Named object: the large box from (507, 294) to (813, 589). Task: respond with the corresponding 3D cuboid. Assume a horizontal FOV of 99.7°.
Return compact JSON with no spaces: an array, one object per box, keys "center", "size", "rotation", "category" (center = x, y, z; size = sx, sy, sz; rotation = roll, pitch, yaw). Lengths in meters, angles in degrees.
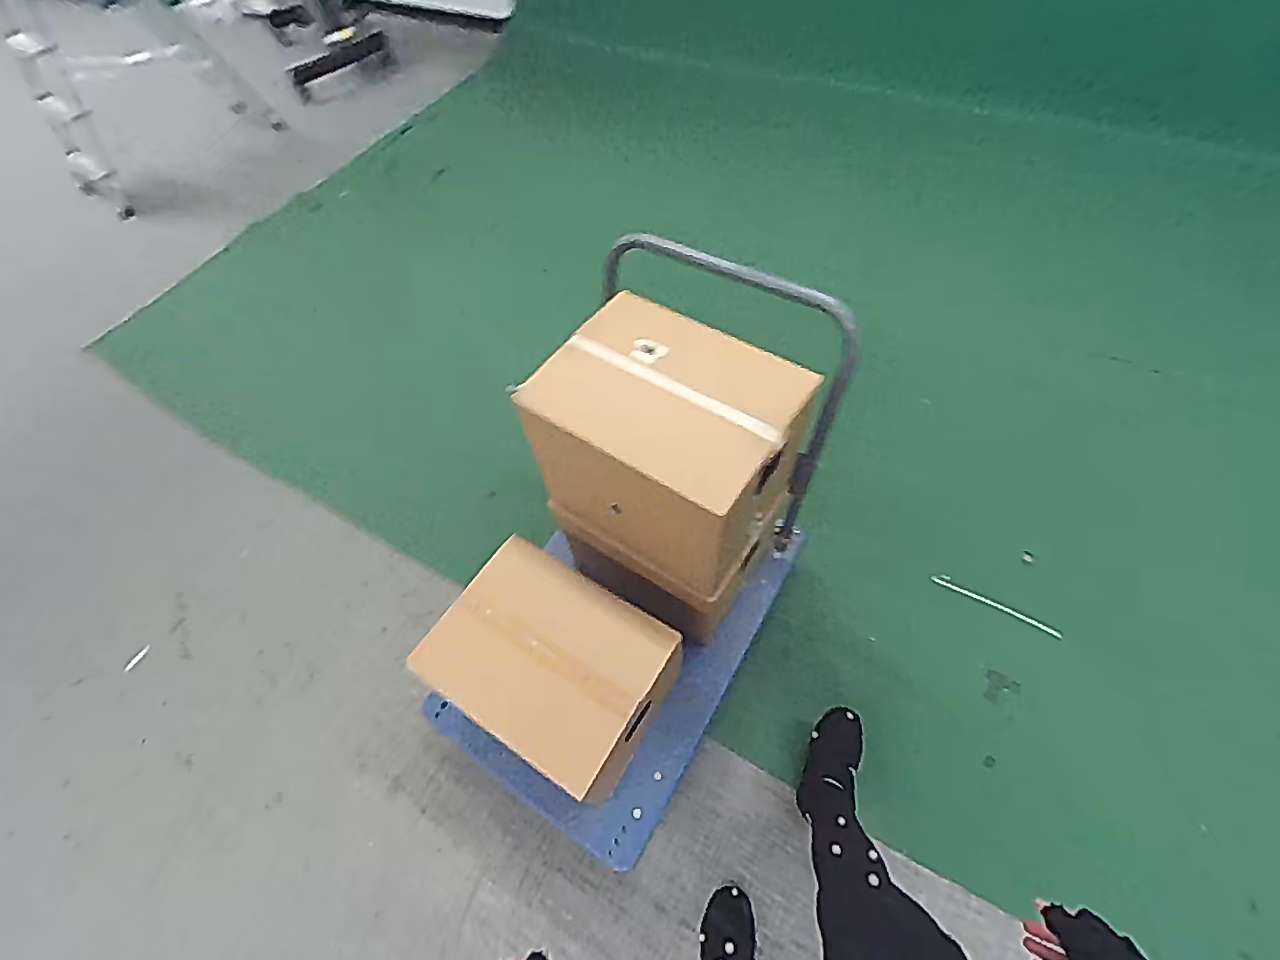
[{"center":[0.043,-0.069,0.989],"size":[0.408,0.320,0.320],"rotation":[29,64,22],"category":"large box"}]
